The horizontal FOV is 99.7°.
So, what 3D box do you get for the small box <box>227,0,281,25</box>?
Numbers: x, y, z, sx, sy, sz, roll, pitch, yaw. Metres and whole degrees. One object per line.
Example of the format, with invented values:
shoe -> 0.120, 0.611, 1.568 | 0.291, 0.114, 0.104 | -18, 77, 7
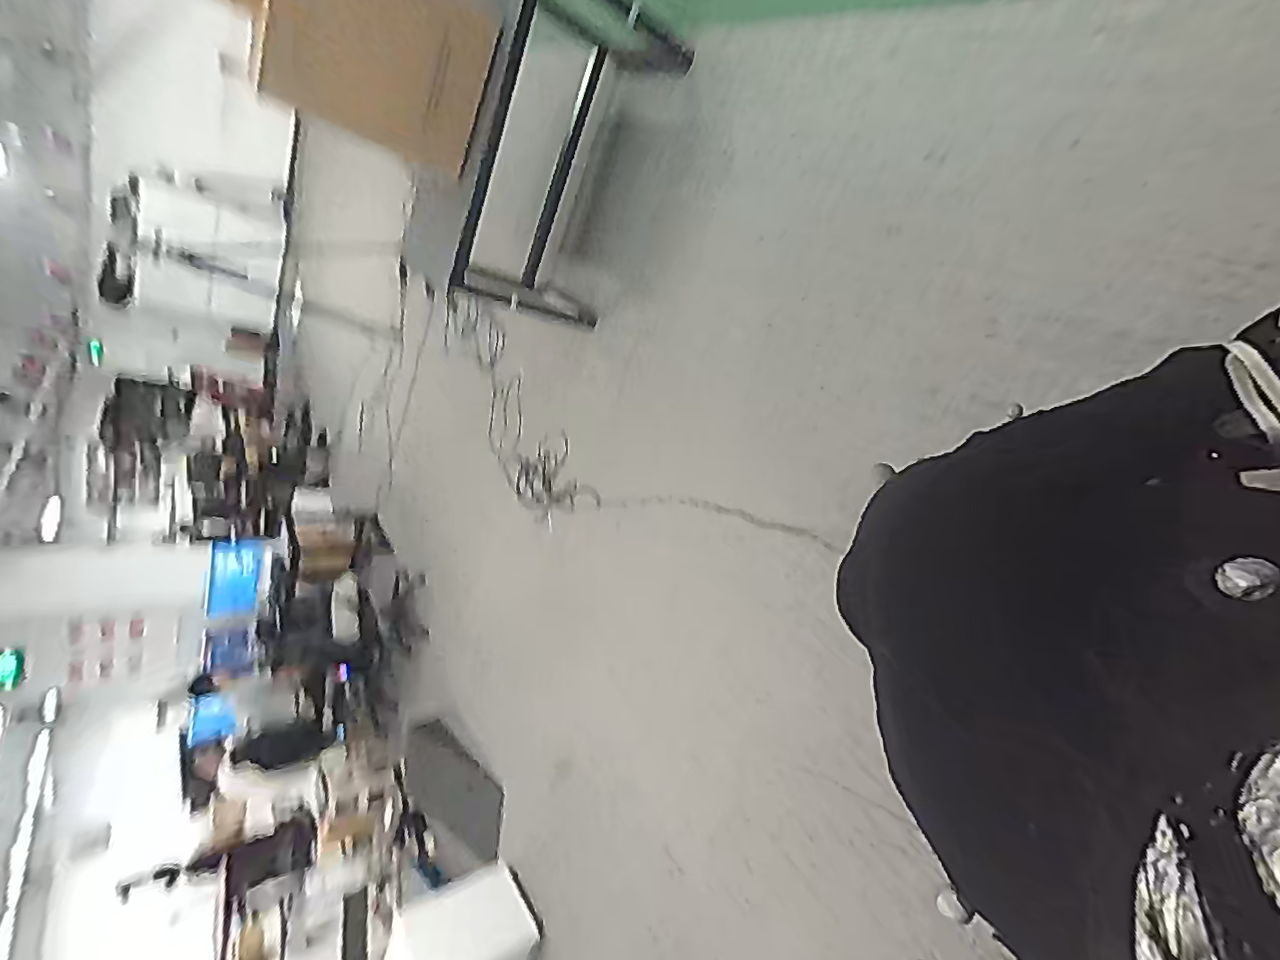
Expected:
small box -> -1.114, -1.435, 1.514 | 0.168, 0.176, 0.179 | 49, 123, 35
